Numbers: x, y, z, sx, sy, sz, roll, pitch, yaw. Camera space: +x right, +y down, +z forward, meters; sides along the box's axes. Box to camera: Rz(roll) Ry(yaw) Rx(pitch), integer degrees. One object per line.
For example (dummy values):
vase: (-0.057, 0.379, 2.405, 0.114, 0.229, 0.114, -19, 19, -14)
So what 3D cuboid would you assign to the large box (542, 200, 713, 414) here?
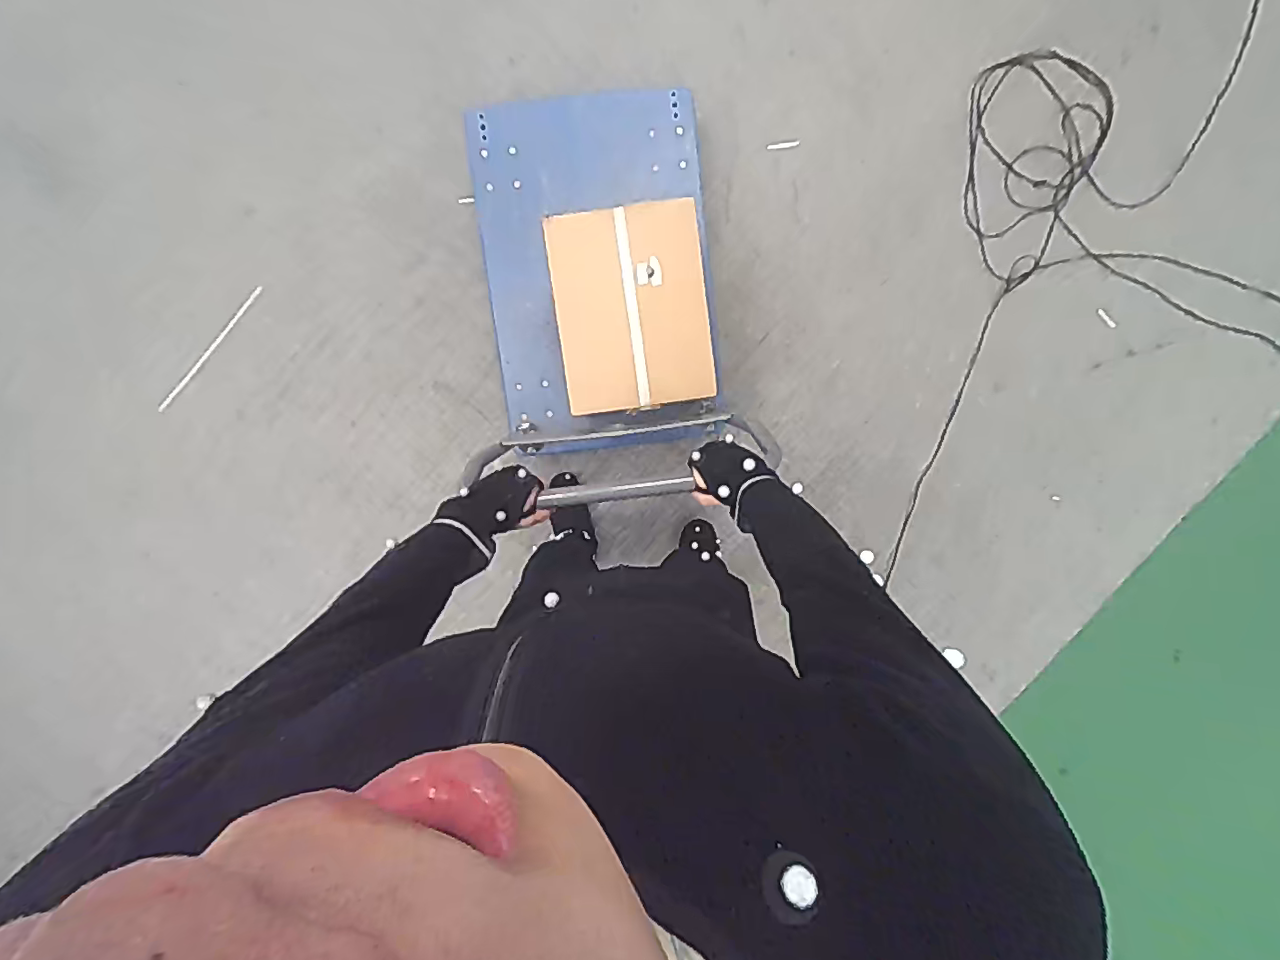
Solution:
large box: (-0.025, -0.379, 1.281, 0.320, 0.320, 0.408, -8, 97, -1)
